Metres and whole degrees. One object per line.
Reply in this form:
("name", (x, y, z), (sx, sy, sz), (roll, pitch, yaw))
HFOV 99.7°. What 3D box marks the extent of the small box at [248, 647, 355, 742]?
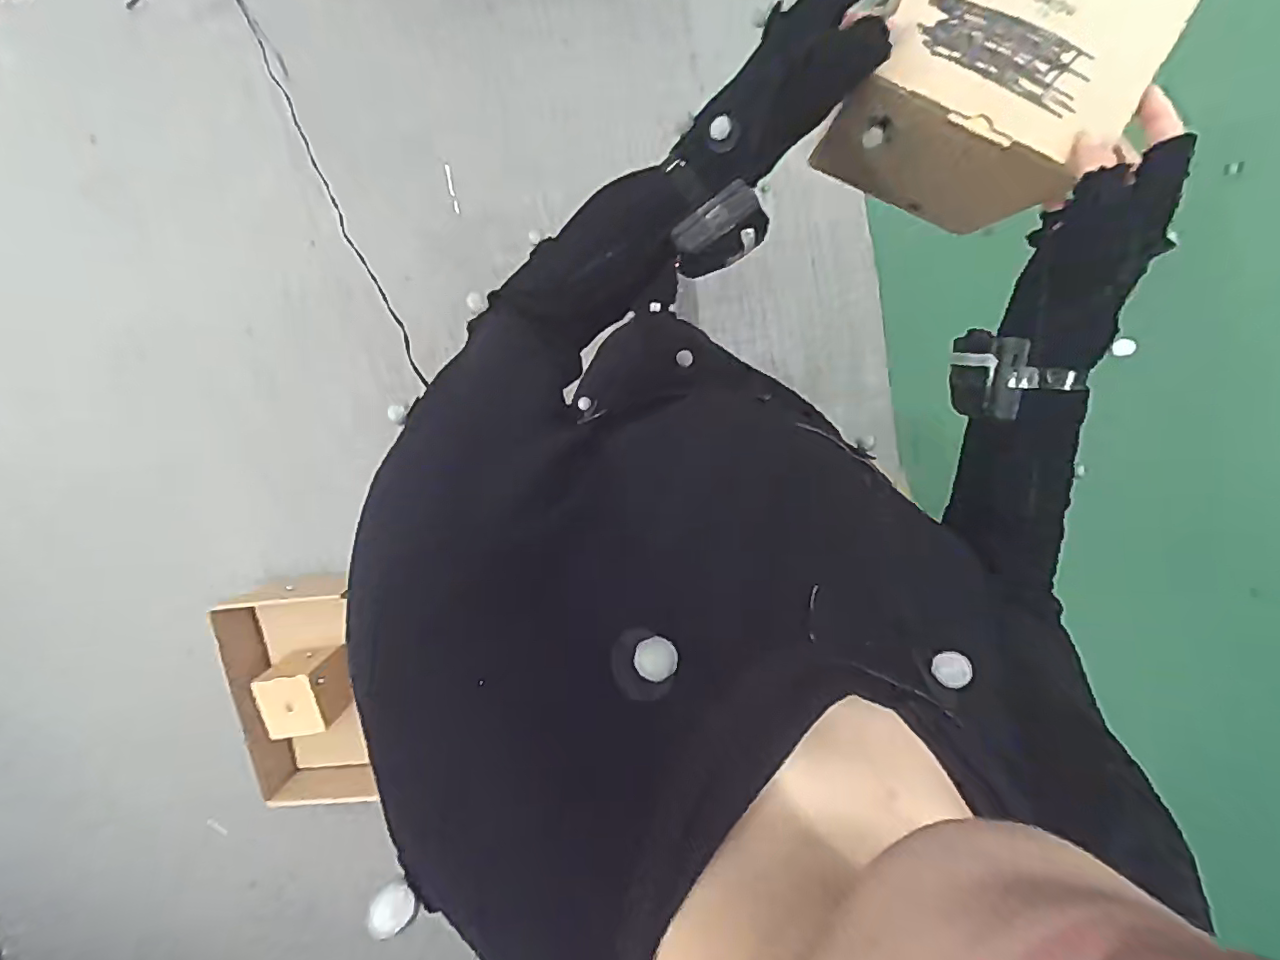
("small box", (-0.932, 0.593, 1.507), (0.168, 0.176, 0.179), (-11, 100, 6))
